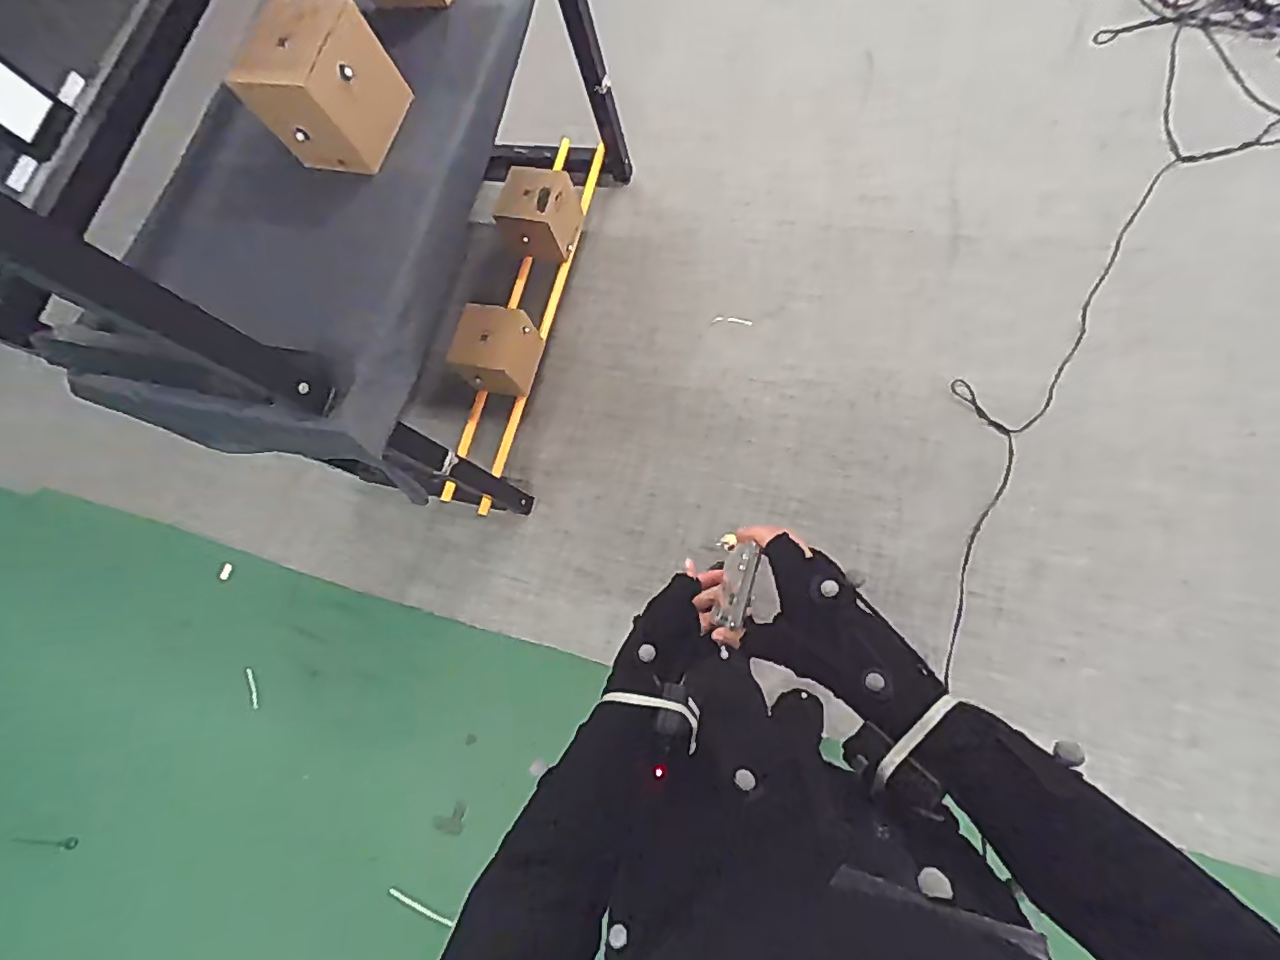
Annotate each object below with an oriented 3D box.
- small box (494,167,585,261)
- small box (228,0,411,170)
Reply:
[{"bbox_3d":[-0.276,-0.749,1.535,0.179,0.176,0.168,15,78,15],"label":"small box"},{"bbox_3d":[-0.518,-0.652,0.899,0.168,0.176,0.179,15,78,15],"label":"small box"}]
